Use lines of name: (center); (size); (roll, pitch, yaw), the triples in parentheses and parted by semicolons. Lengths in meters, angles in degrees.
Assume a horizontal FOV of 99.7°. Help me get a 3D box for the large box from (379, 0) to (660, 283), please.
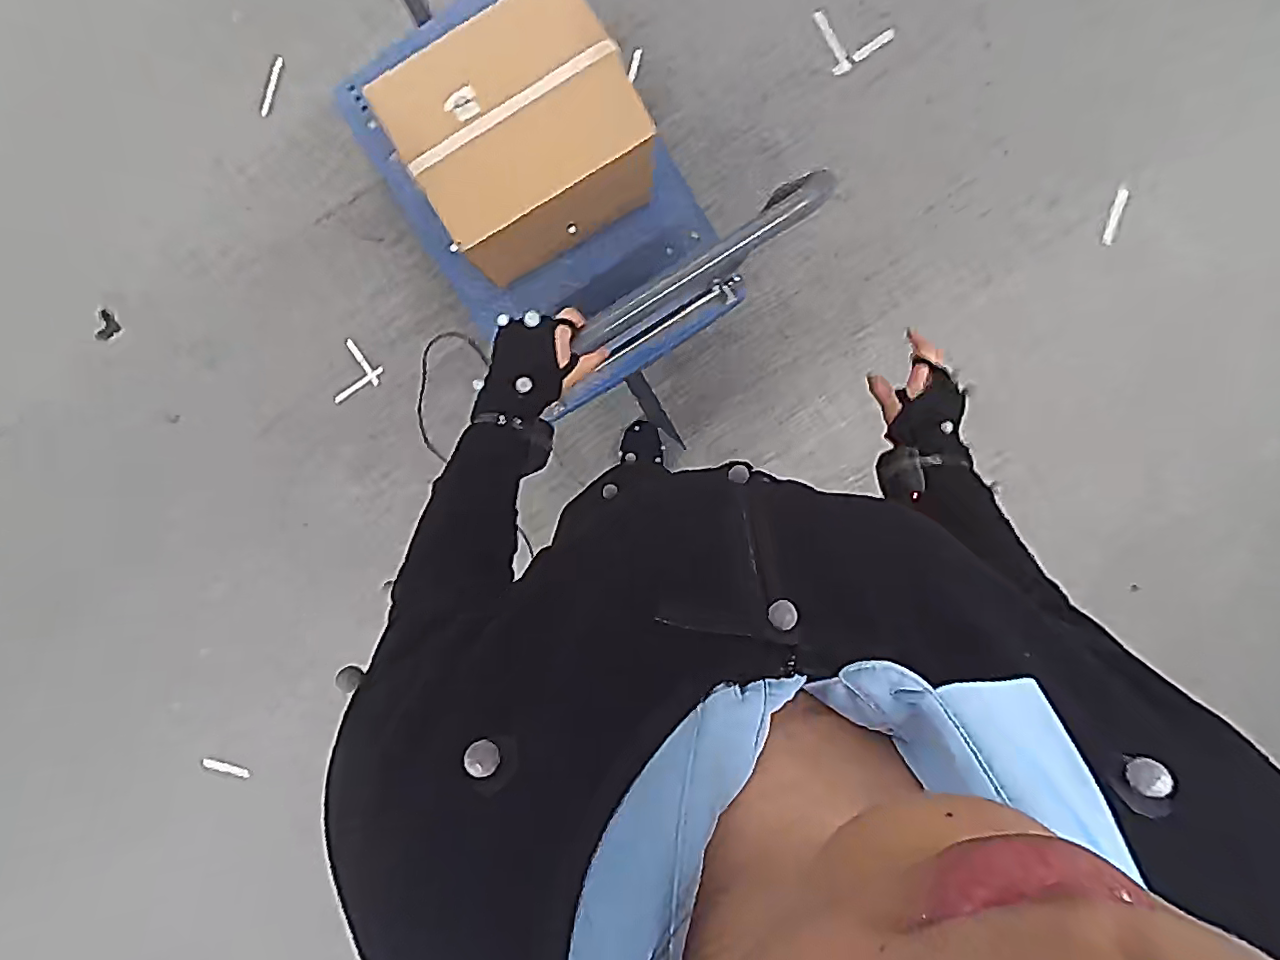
large box: (-0.209, -0.663, 1.087); (0.408, 0.320, 0.320); (-30, 96, 4)
